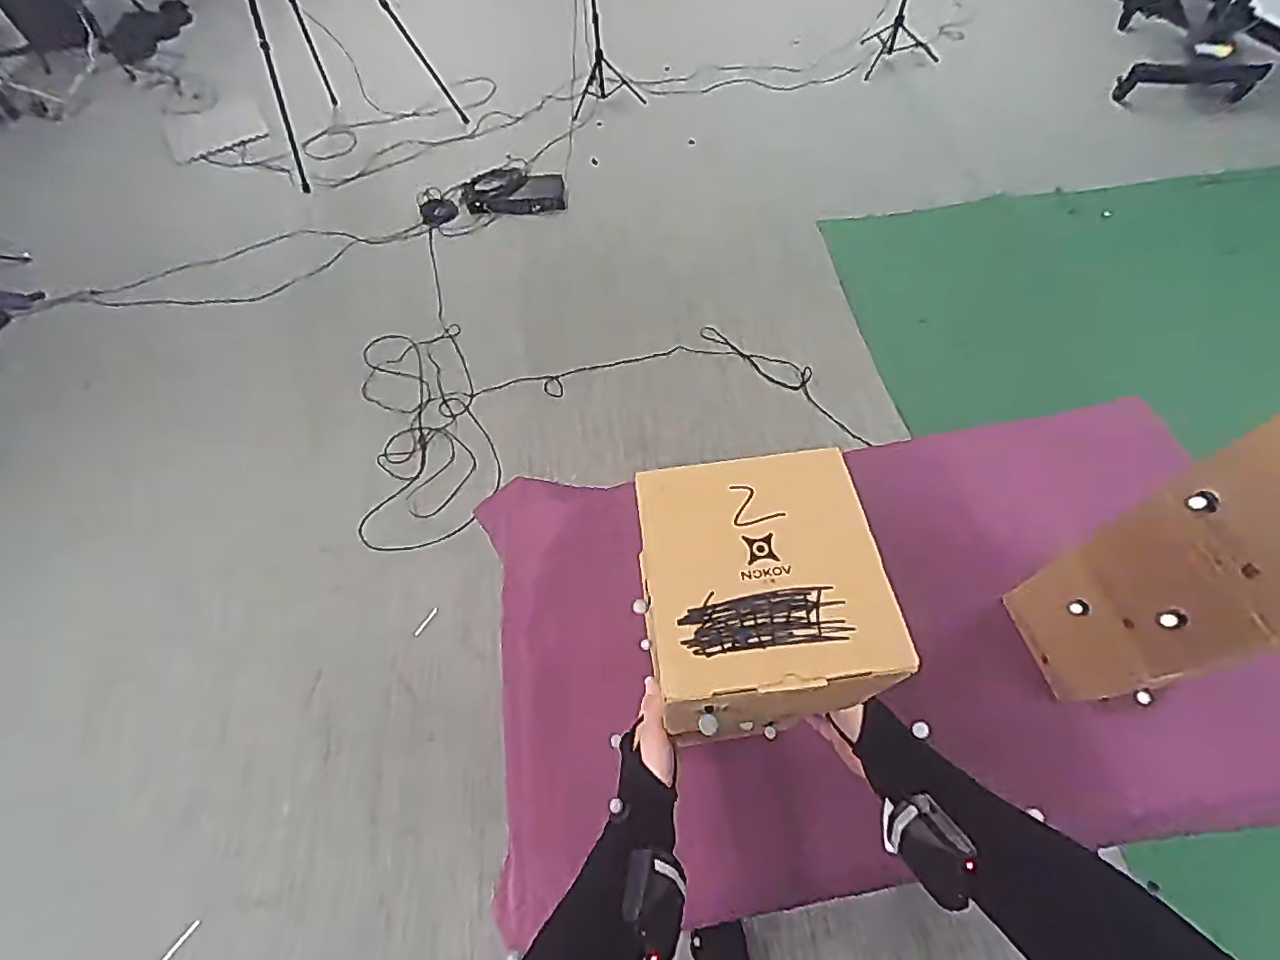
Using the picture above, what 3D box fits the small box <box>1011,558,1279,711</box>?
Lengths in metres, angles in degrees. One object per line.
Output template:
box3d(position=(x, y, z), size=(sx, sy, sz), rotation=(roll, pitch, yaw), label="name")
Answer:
box3d(position=(0.664, 0.204, 0.737), size=(0.179, 0.176, 0.168), rotation=(-10, 58, -2), label="small box")

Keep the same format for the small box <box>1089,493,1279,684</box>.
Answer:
box3d(position=(0.655, 0.117, 0.599), size=(0.179, 0.176, 0.168), rotation=(-9, 59, -1), label="small box")

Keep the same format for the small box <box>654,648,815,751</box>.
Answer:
box3d(position=(0.114, 0.263, 0.738), size=(0.179, 0.176, 0.168), rotation=(-8, 58, -1), label="small box")

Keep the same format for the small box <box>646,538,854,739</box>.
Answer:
box3d(position=(0.105, 0.181, 0.600), size=(0.179, 0.176, 0.168), rotation=(-9, 59, -1), label="small box")

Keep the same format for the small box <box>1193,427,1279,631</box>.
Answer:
box3d(position=(0.648, 0.029, 0.460), size=(0.179, 0.176, 0.168), rotation=(-10, 59, -2), label="small box")
